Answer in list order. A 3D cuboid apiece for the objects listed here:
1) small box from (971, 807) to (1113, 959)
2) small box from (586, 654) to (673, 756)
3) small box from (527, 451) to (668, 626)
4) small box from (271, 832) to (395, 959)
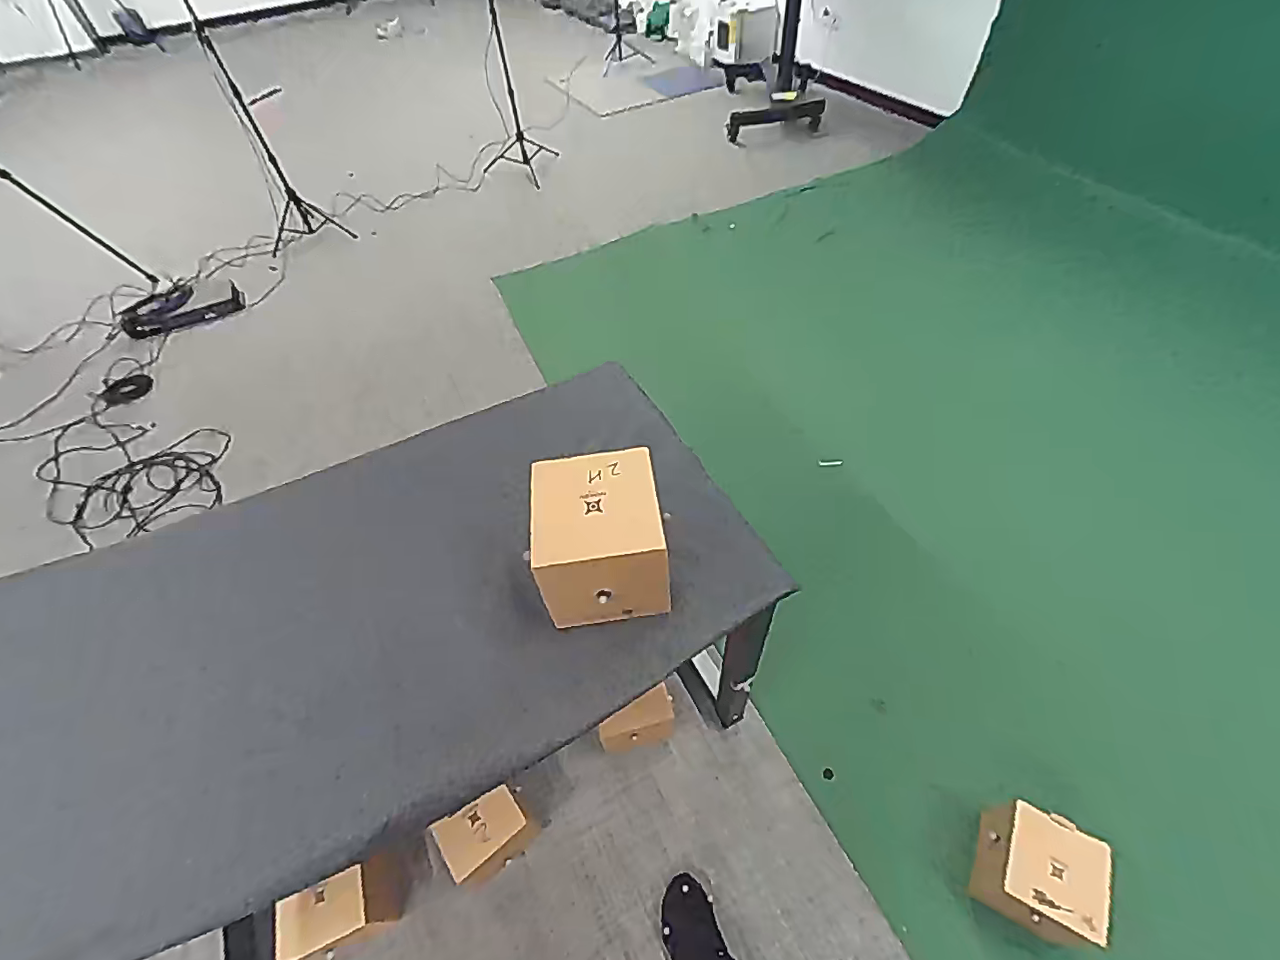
[{"bbox_3d":[0.785,0.790,1.067,0.168,0.176,0.179,23,56,21],"label":"small box"},{"bbox_3d":[-0.024,0.550,1.313,0.179,0.176,0.168,-13,52,-8],"label":"small box"},{"bbox_3d":[-0.054,0.087,0.747,0.168,0.176,0.179,-7,49,-2],"label":"small box"},{"bbox_3d":[-0.626,0.862,1.115,0.168,0.176,0.179,-21,53,-12],"label":"small box"}]
